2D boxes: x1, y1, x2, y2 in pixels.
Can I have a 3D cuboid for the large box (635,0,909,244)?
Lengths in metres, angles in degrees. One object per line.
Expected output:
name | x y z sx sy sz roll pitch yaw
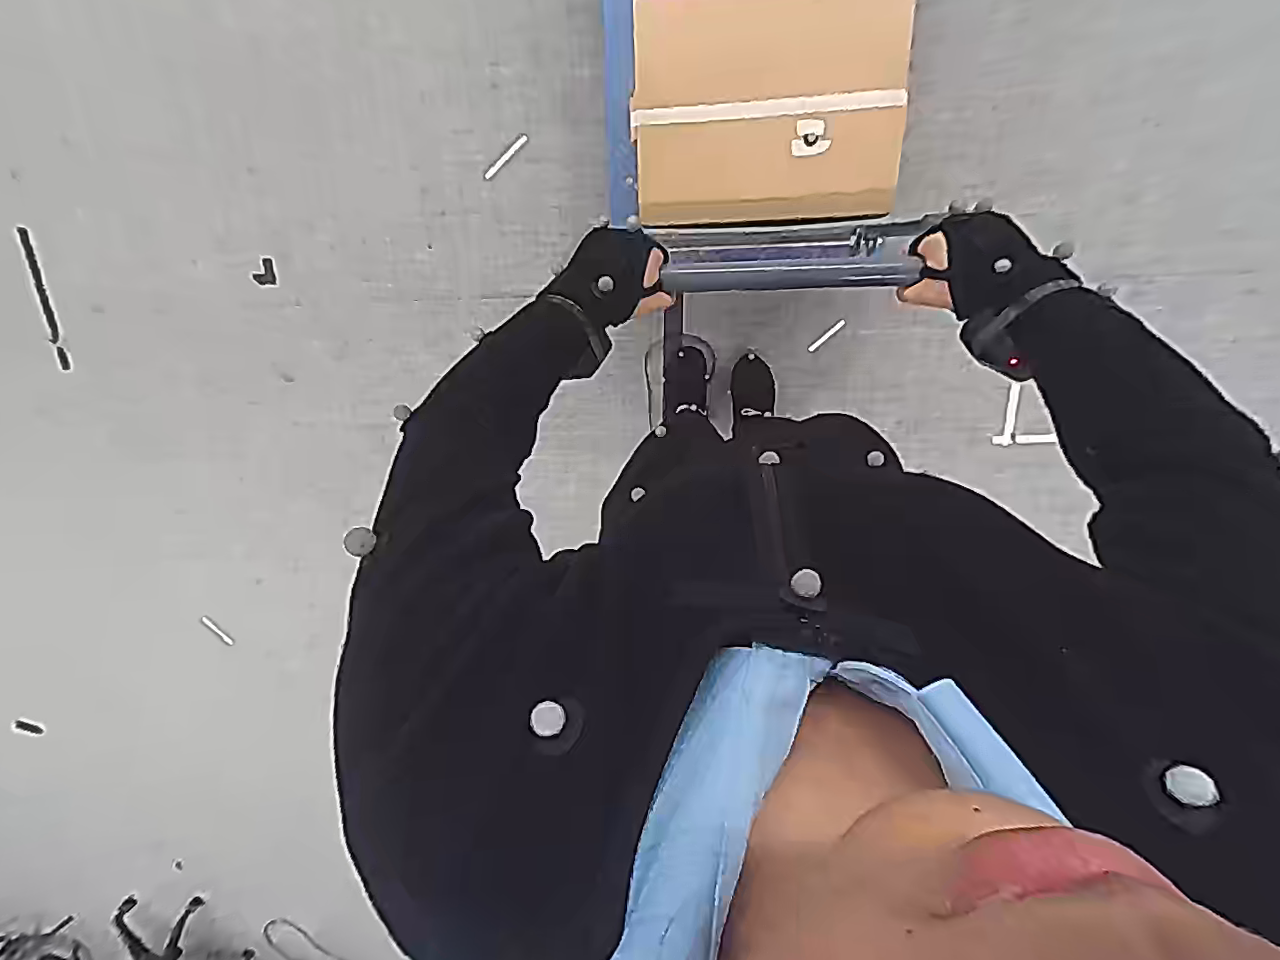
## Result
large box | 0.211 -0.621 0.980 0.408 0.320 0.320 -1 110 6
